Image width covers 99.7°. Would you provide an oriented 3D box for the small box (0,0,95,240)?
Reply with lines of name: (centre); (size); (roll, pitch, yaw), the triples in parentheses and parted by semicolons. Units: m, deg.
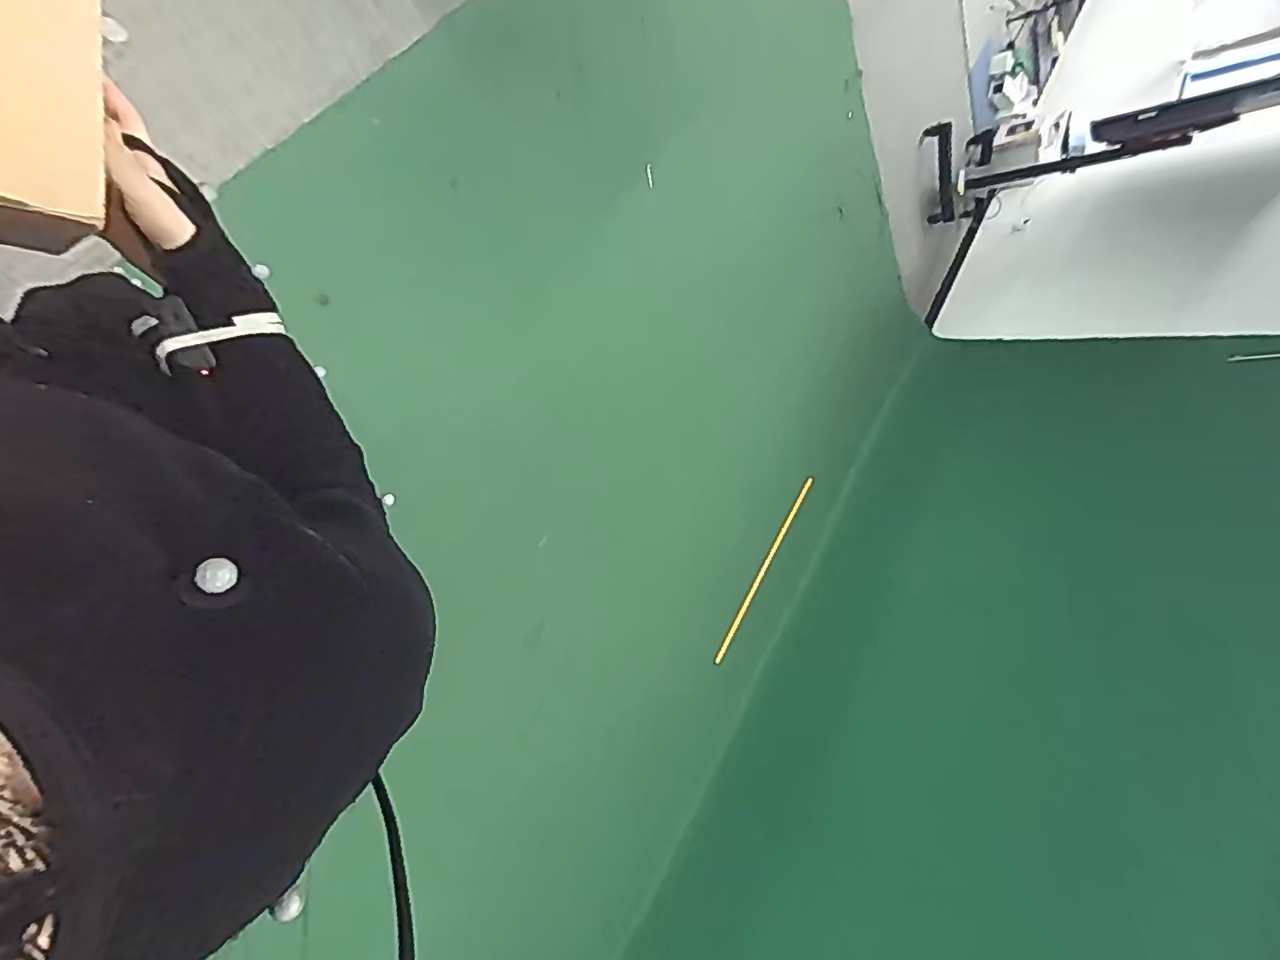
small box: (-0.429, -0.251, 0.292); (0.168, 0.176, 0.179); (-2, 101, -54)
